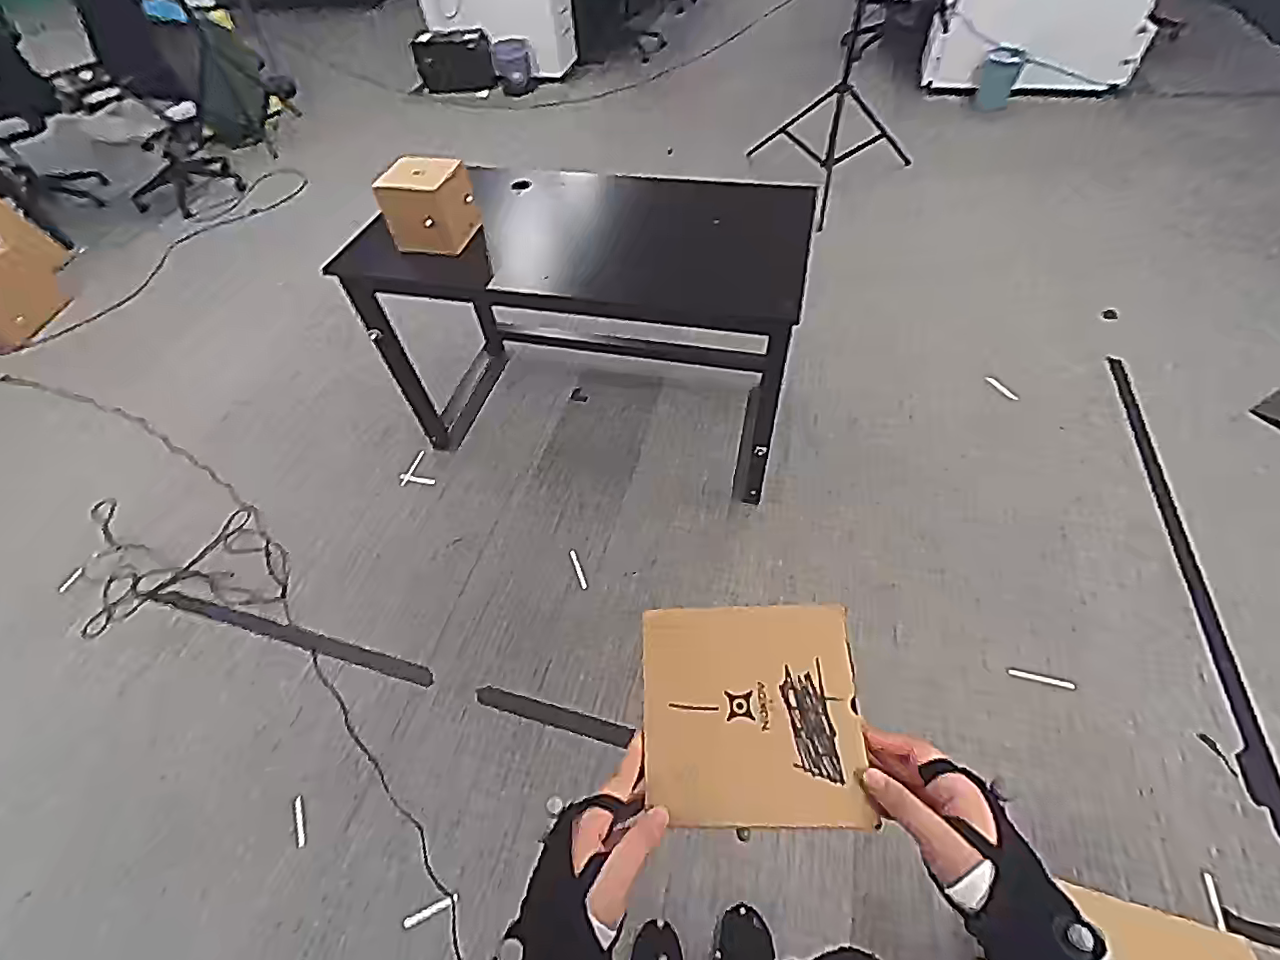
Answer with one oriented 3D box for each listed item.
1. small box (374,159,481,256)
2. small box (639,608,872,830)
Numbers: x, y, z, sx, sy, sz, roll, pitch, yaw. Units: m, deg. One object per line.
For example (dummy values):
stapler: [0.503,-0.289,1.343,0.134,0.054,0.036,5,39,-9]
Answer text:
small box: [-0.537,-0.700,1.396,0.179,0.176,0.168,8,53,11]
small box: [0.093,0.222,0.510,0.179,0.176,0.168,-3,62,5]
